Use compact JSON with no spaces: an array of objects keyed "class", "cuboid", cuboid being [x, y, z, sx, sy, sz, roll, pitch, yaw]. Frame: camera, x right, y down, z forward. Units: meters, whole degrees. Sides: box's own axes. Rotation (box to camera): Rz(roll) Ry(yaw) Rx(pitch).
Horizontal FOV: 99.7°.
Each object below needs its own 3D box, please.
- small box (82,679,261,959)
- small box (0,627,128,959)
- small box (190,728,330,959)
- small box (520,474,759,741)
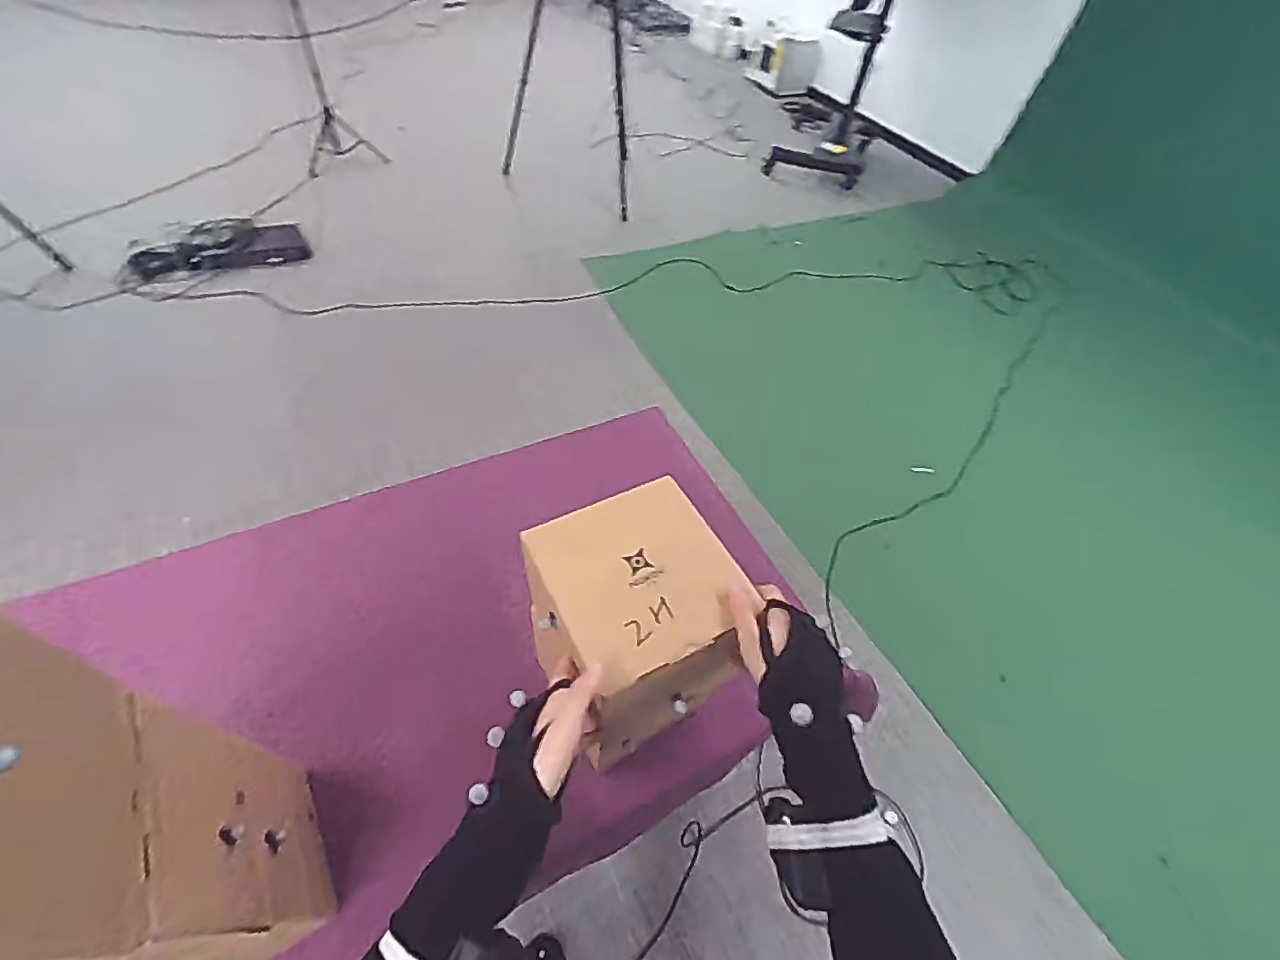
[{"class":"small box","cuboid":[-0.415,0.282,0.388,0.179,0.176,0.168,-22,58,-24]},{"class":"small box","cuboid":[-0.397,0.179,0.262,0.168,0.176,0.179,-19,56,-23]},{"class":"small box","cuboid":[-0.434,0.377,0.518,0.179,0.176,0.168,-22,58,-23]},{"class":"small box","cuboid":[-0.011,0.129,0.549,0.168,0.176,0.179,-20,56,-19]}]
